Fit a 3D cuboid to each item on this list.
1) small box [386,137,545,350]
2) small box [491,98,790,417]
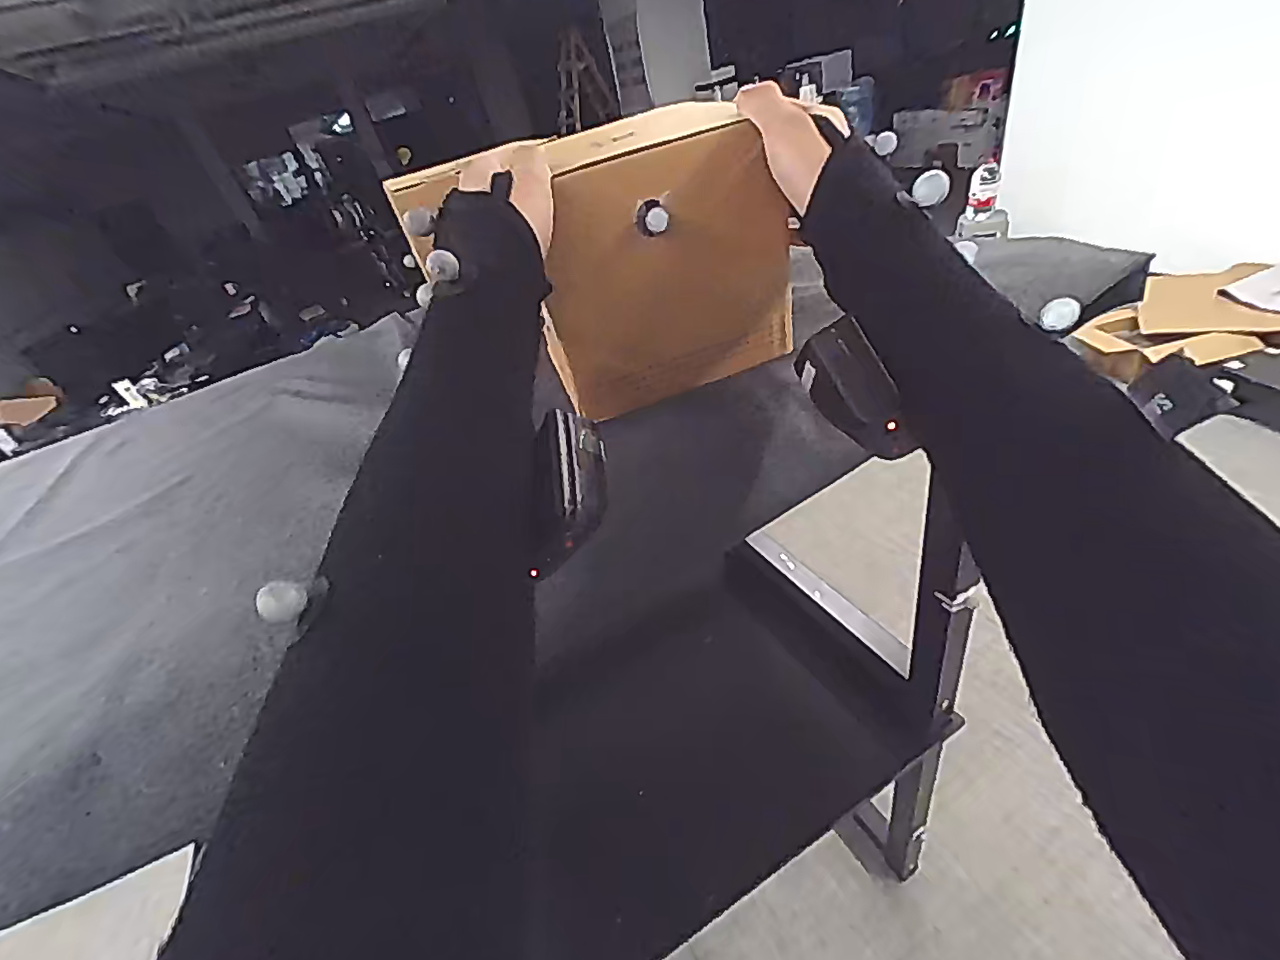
[{"bbox_3d":[-0.162,-0.264,0.607,0.168,0.176,0.179,-25,36,-12],"label":"small box"},{"bbox_3d":[0.002,-0.177,0.425,0.179,0.176,0.168,-21,38,-6],"label":"small box"}]
